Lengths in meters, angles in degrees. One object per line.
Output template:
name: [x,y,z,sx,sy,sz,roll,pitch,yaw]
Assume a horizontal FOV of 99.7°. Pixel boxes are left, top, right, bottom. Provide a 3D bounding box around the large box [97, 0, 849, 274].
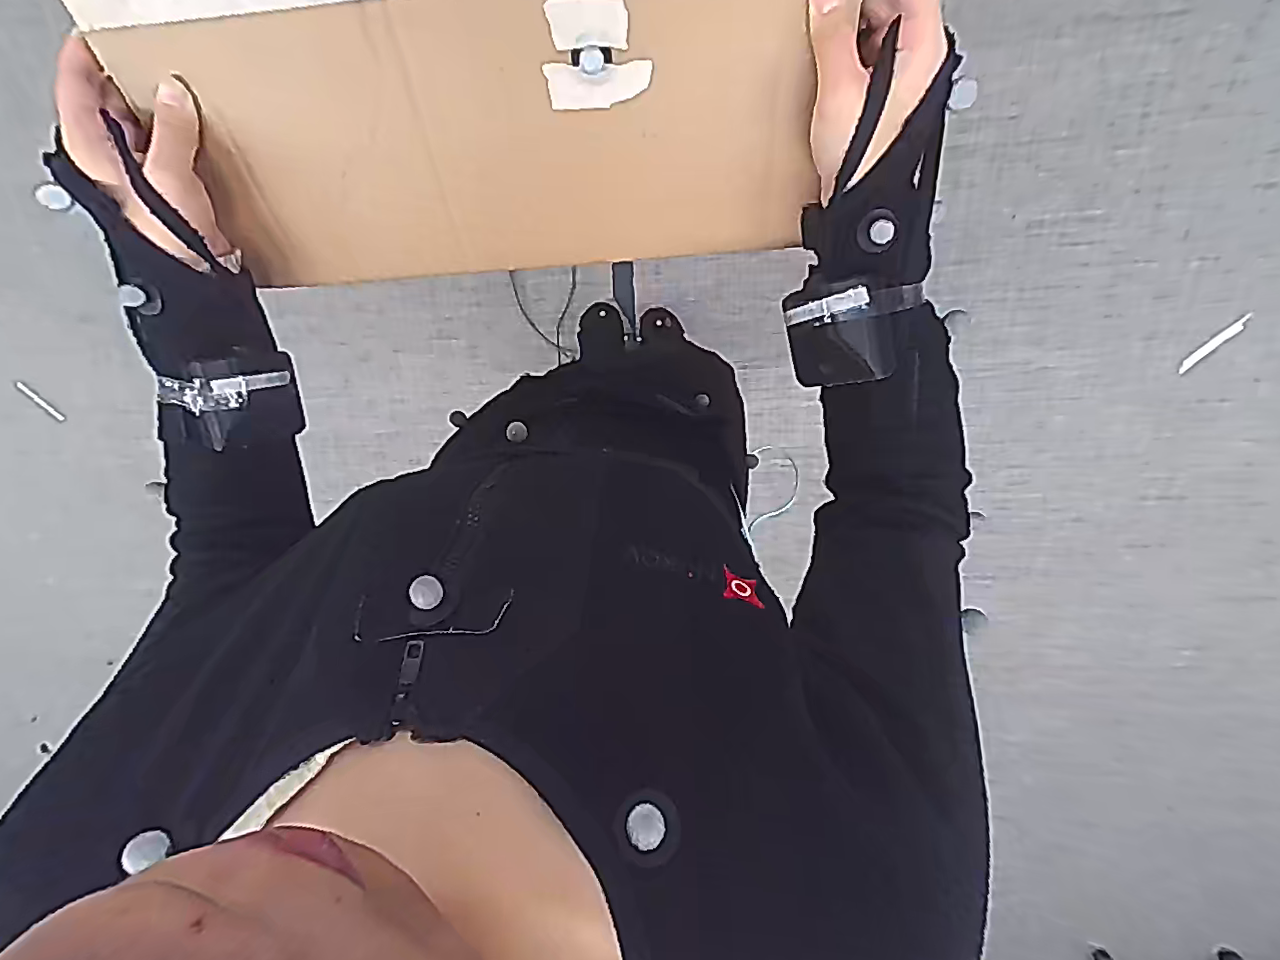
large box: [-0.091,-0.373,0.376,0.408,0.320,0.320,-3,135,4]
